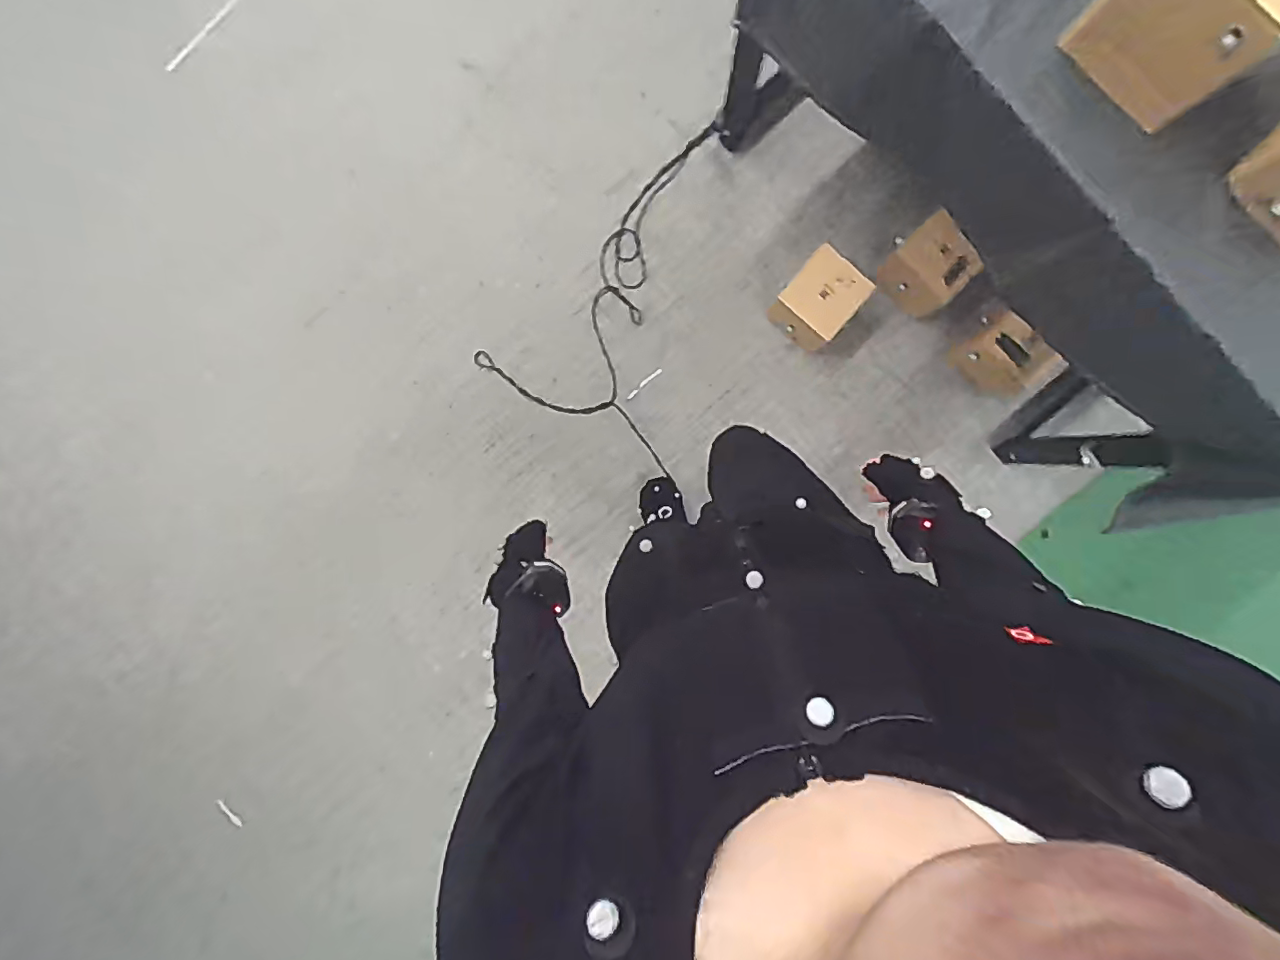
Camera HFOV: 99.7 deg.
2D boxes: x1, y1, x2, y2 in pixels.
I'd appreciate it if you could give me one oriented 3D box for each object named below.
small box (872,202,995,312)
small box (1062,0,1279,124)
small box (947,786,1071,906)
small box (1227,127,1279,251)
[{"bbox_3d":[0.725,-0.544,1.354,0.168,0.176,0.179,-44,89,4],"label":"small box"},{"bbox_3d":[0.660,-0.572,0.630,0.179,0.176,0.168,43,93,-1],"label":"small box"},{"bbox_3d":[0.965,0.956,1.436,0.168,0.176,0.179,-43,90,4],"label":"small box"},{"bbox_3d":[0.879,-0.392,0.631,0.179,0.176,0.168,-45,90,4],"label":"small box"}]
